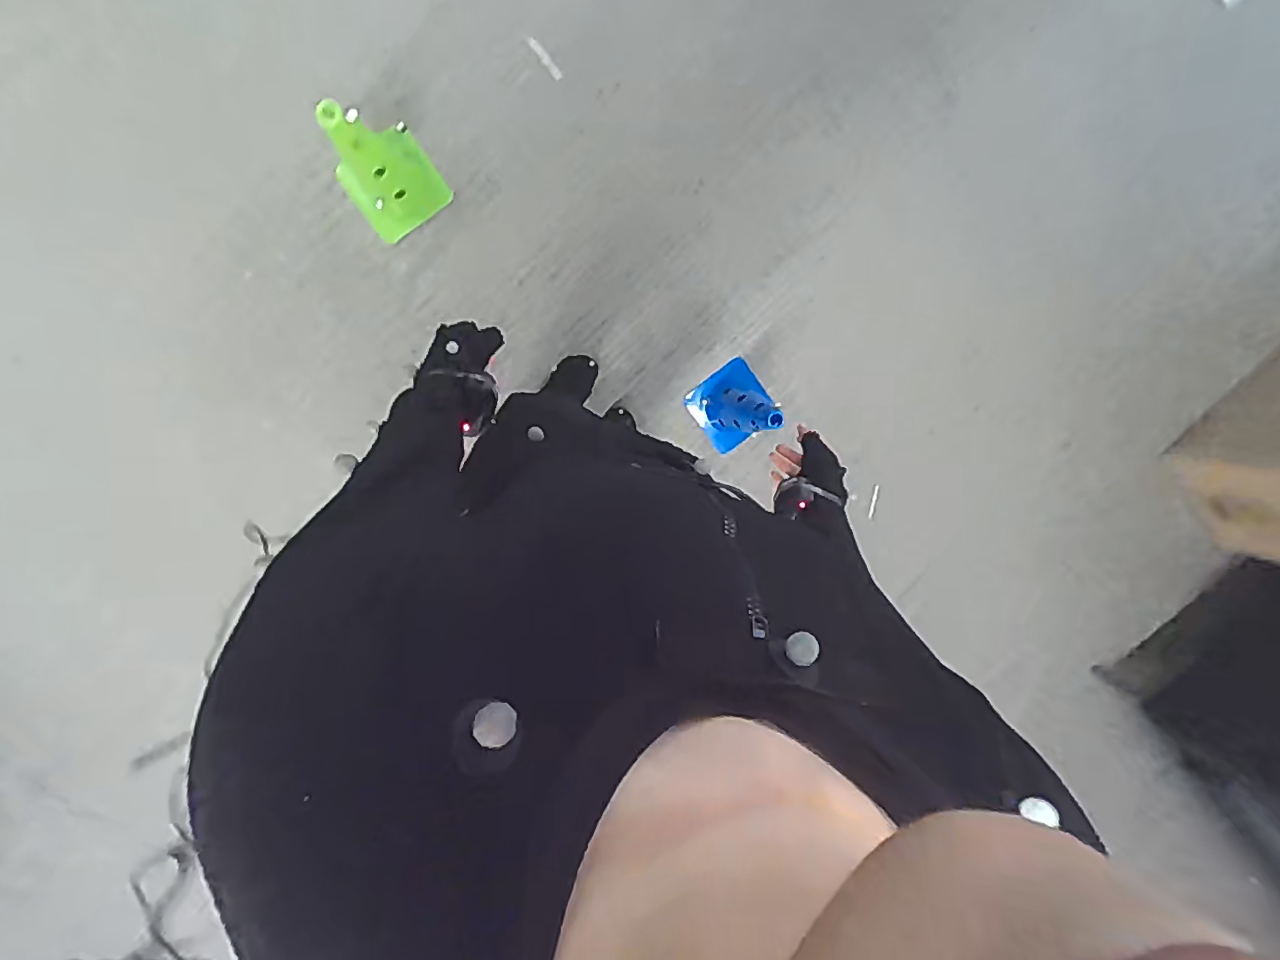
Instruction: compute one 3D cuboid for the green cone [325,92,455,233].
[{"bbox_3d":[-0.549,-0.683,1.102,0.200,0.368,0.202,-35,103,2],"label":"green cone"}]
